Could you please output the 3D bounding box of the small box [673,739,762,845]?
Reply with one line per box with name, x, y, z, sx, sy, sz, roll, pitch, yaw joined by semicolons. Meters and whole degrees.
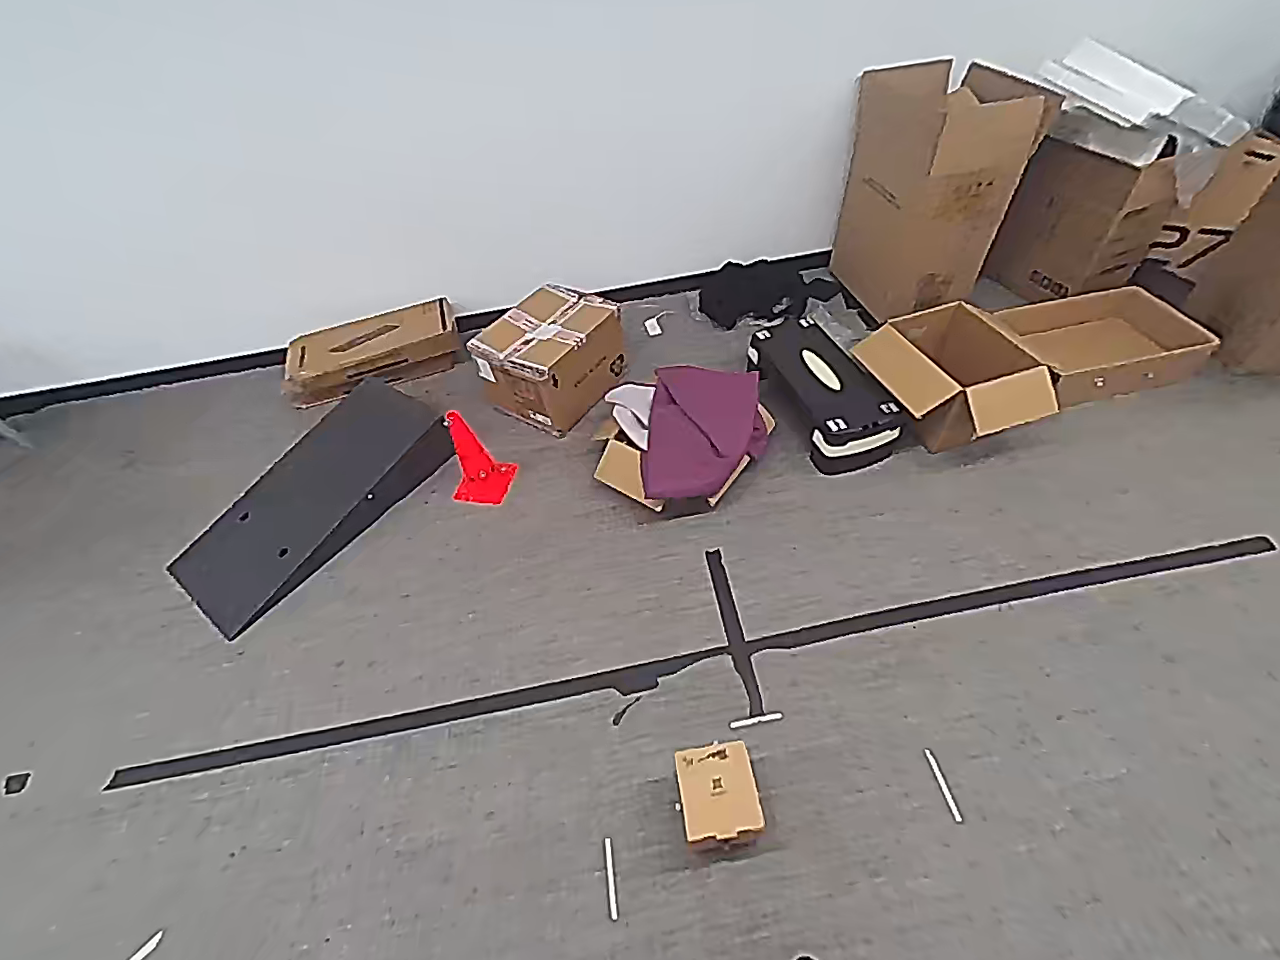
small box;0.174;0.713;1.228;0.168;0.176;0.179;-9;50;0
